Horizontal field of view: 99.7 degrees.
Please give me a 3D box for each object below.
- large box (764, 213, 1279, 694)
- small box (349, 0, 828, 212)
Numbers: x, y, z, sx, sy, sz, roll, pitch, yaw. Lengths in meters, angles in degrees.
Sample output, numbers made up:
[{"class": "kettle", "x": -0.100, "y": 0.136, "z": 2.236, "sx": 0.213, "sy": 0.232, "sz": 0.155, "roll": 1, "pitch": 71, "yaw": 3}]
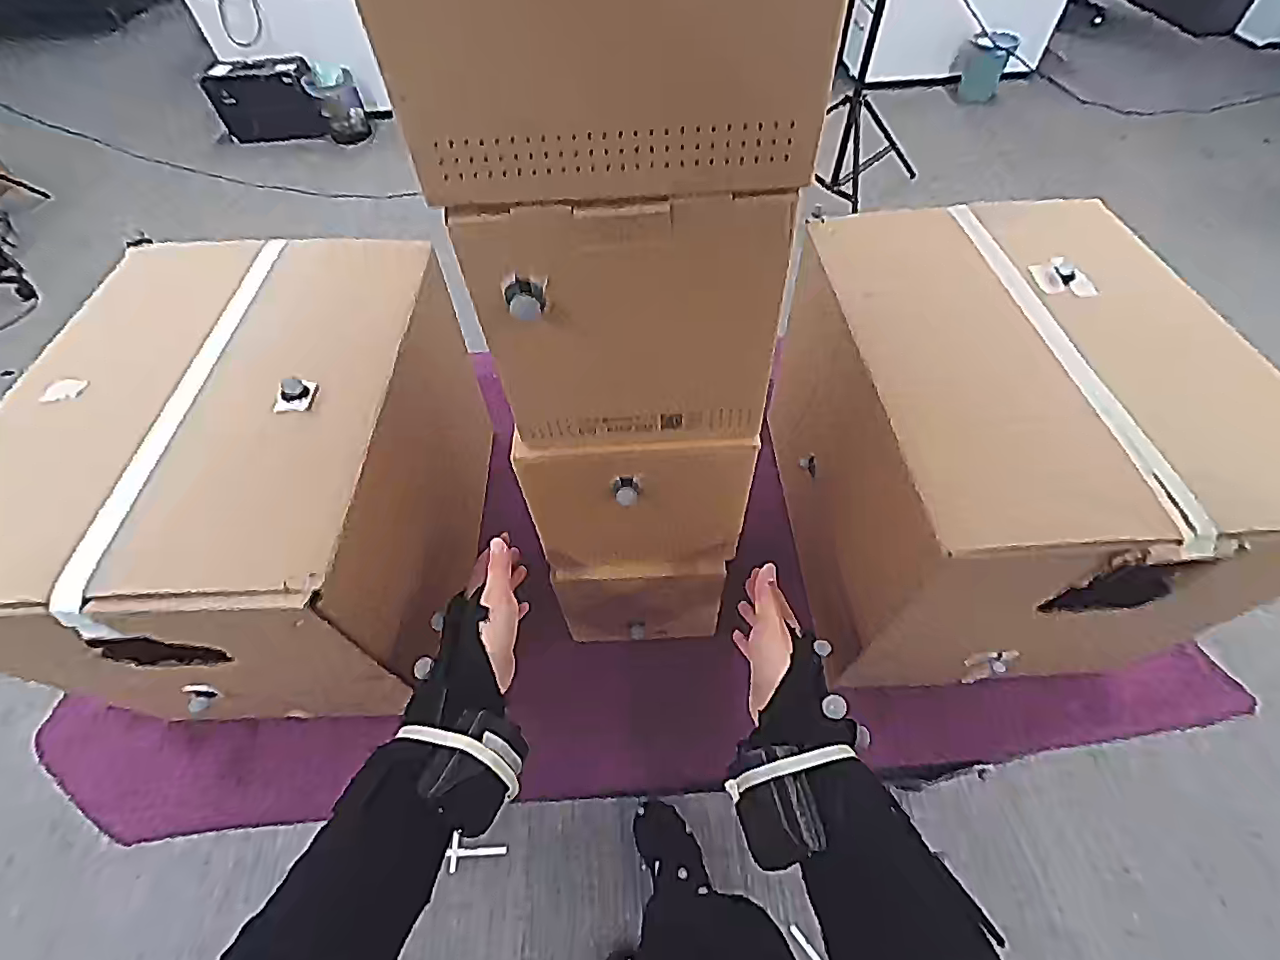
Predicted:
[{"class": "large box", "x": 0.338, "y": -0.026, "z": 0.581, "sx": 0.320, "sy": 0.320, "sz": 0.408, "roll": -4, "pitch": 53, "yaw": 0}, {"class": "small box", "x": -0.017, "y": -0.236, "z": 0.228, "sx": 0.179, "sy": 0.176, "sz": 0.168, "roll": -3, "pitch": 52, "yaw": 2}]
